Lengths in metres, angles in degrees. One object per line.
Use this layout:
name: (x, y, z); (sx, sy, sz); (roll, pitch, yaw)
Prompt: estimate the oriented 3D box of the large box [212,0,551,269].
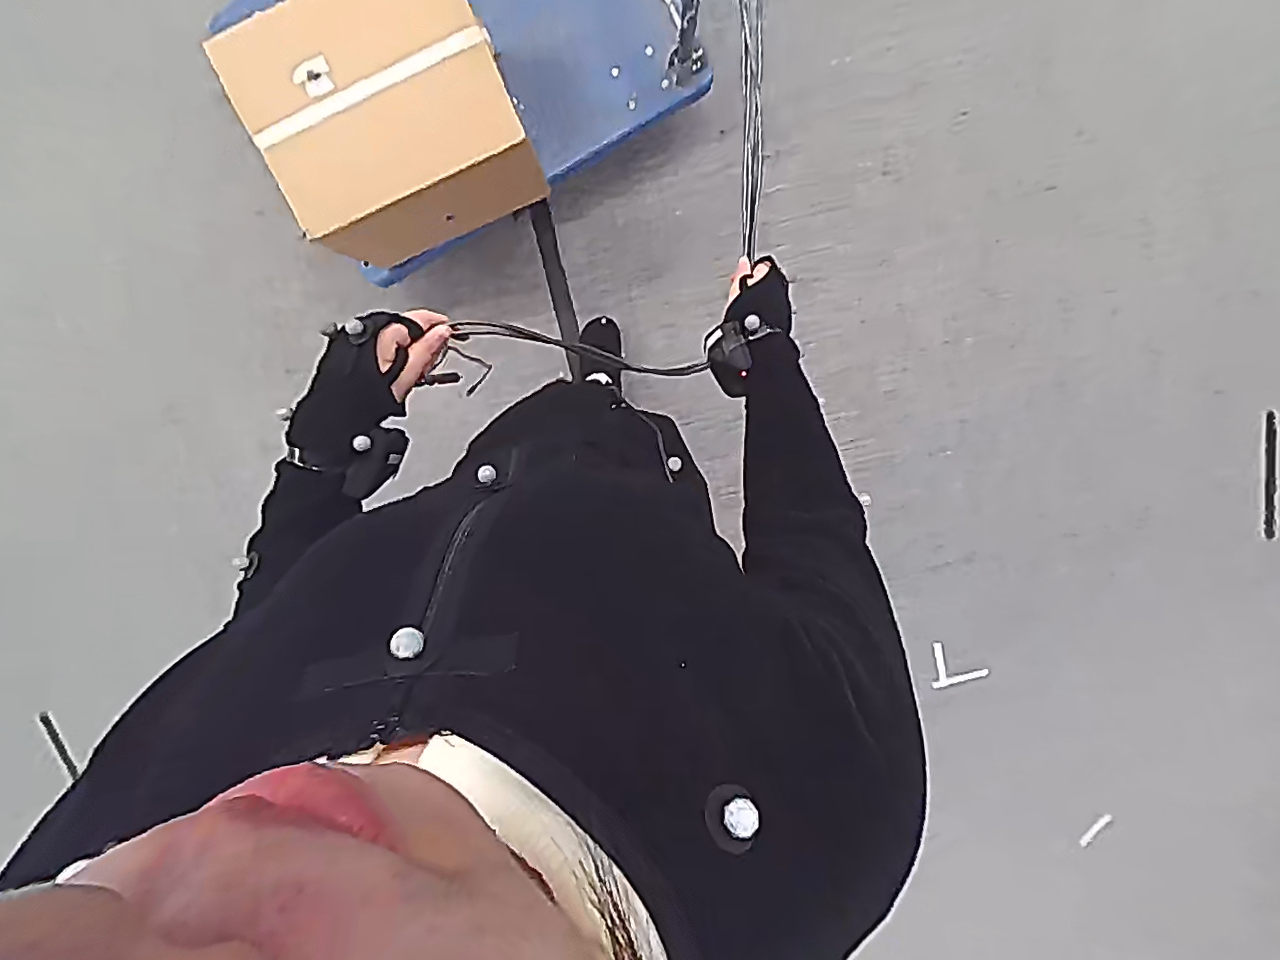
large box: (-0.424, -0.636, 0.994); (0.408, 0.320, 0.320); (-23, 102, 4)
